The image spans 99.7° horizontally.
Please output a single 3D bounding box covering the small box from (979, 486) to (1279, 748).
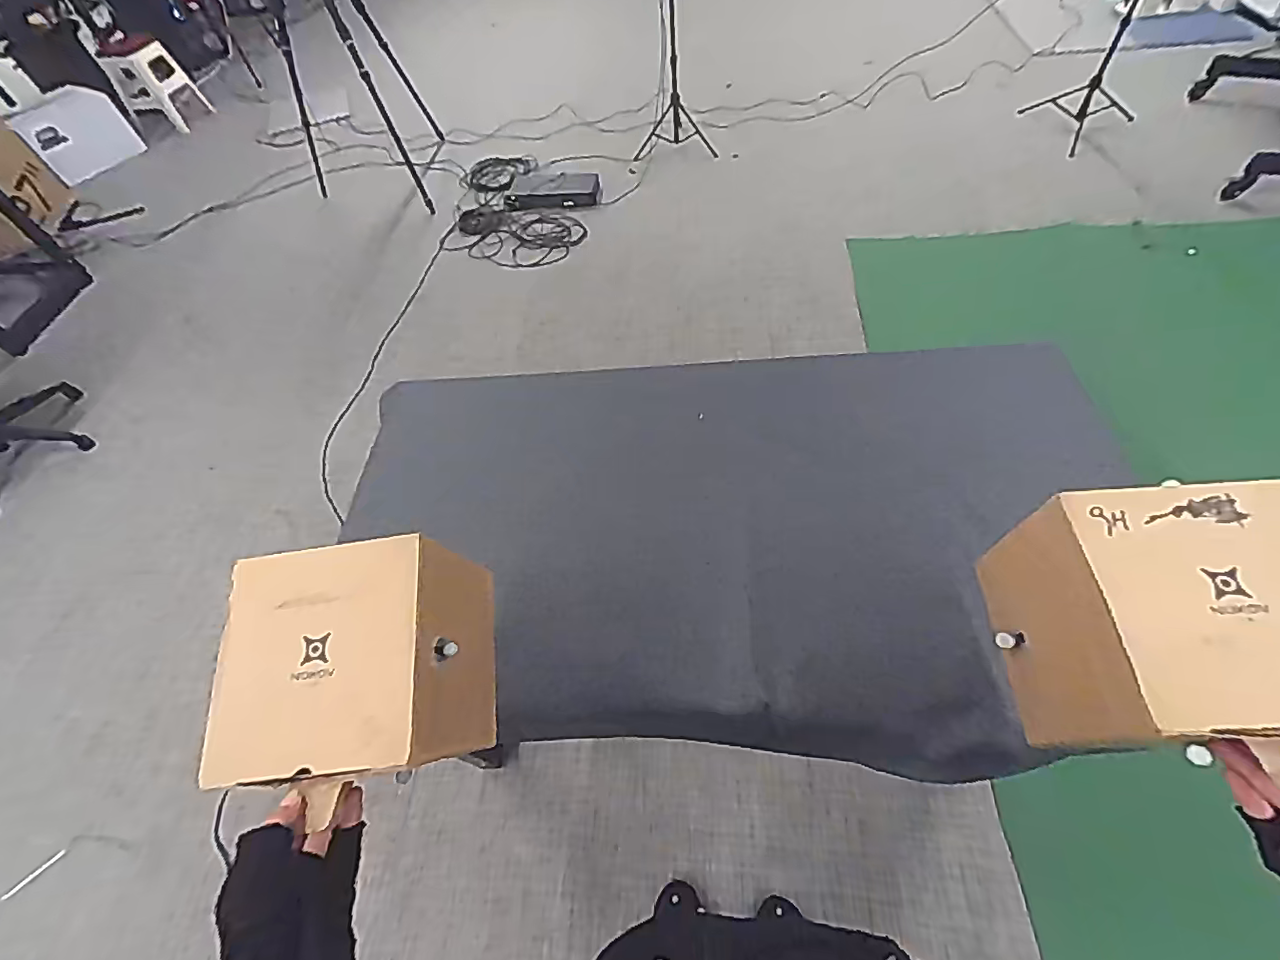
[{"bbox_3d":[0.418,0.122,0.444,0.168,0.176,0.179,-4,62,6],"label":"small box"}]

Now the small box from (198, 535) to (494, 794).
[{"bbox_3d":[-0.239,0.164,0.489,0.168,0.176,0.179,-8,67,3],"label":"small box"}]
